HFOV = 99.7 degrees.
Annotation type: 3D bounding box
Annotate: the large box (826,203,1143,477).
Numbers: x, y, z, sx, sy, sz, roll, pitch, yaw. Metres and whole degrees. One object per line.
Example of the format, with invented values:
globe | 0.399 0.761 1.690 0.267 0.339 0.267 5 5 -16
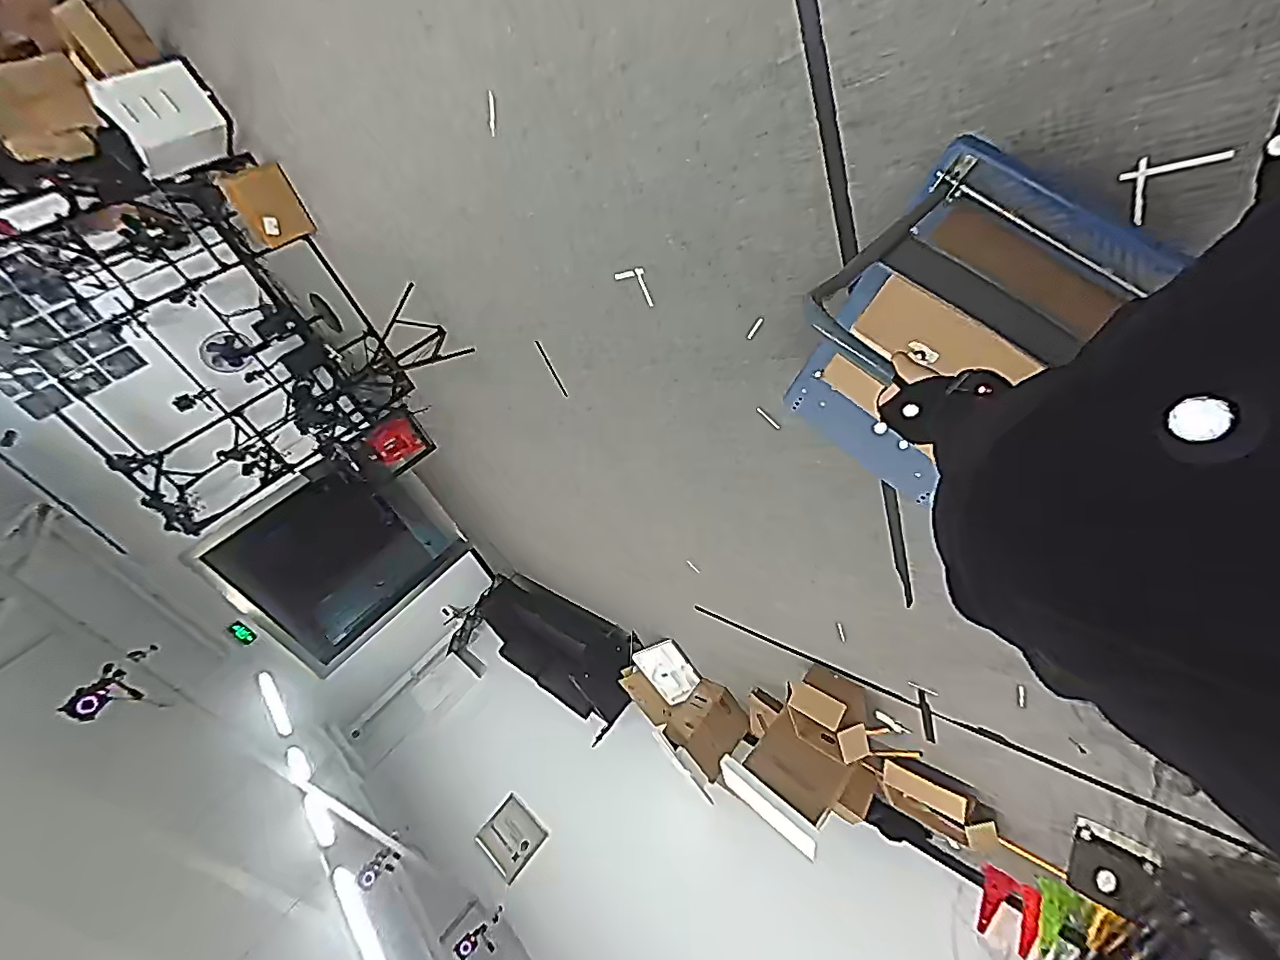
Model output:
large box | 0.689 -0.287 1.125 0.408 0.320 0.320 40 152 12
